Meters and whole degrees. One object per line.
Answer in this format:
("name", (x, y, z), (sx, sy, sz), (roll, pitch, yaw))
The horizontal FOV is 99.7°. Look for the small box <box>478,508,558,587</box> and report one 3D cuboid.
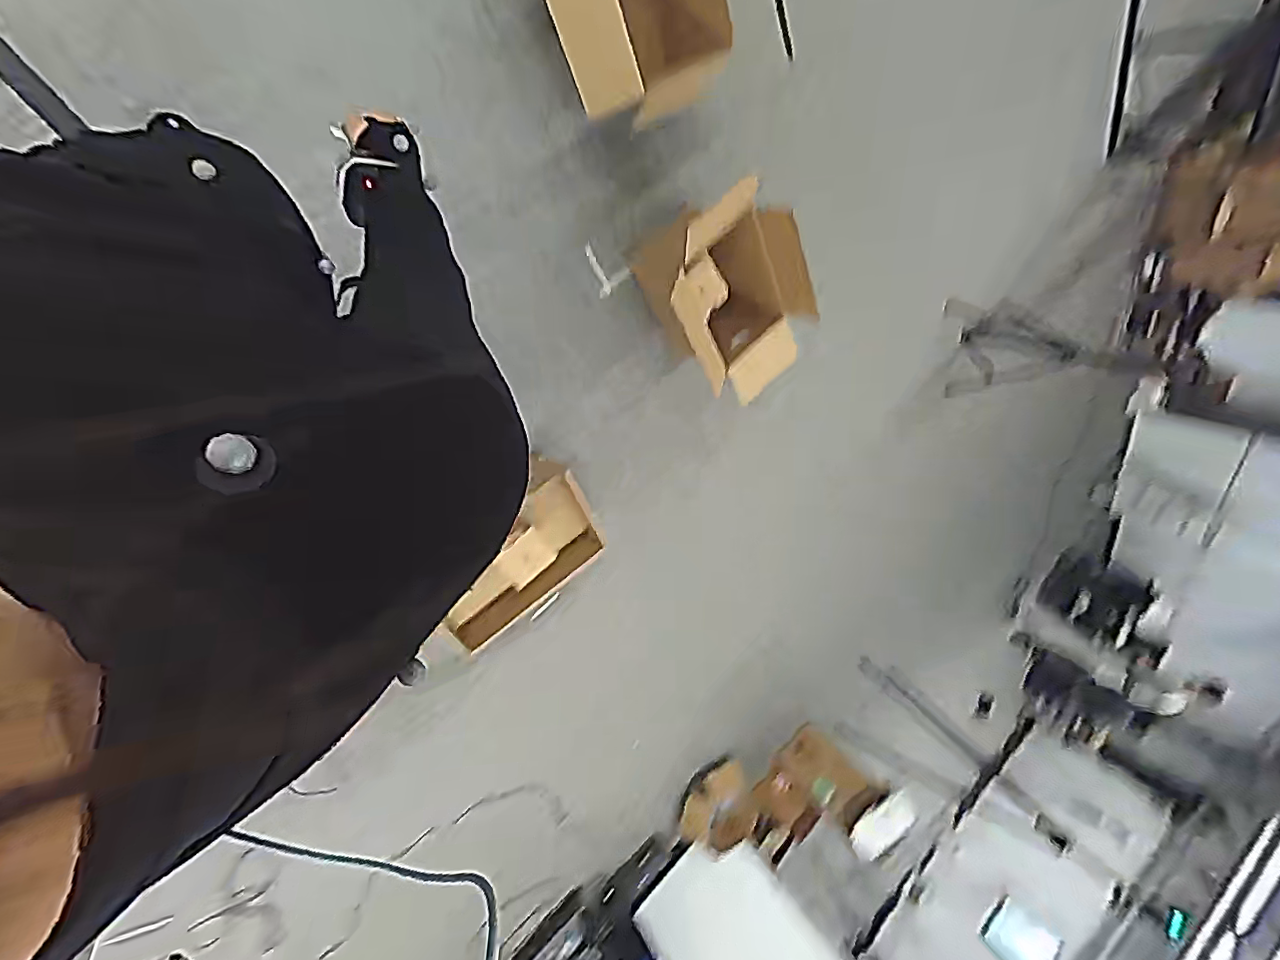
("small box", (-0.412, 0.217, 1.815), (0.168, 0.176, 0.179), (-41, 131, -11))
